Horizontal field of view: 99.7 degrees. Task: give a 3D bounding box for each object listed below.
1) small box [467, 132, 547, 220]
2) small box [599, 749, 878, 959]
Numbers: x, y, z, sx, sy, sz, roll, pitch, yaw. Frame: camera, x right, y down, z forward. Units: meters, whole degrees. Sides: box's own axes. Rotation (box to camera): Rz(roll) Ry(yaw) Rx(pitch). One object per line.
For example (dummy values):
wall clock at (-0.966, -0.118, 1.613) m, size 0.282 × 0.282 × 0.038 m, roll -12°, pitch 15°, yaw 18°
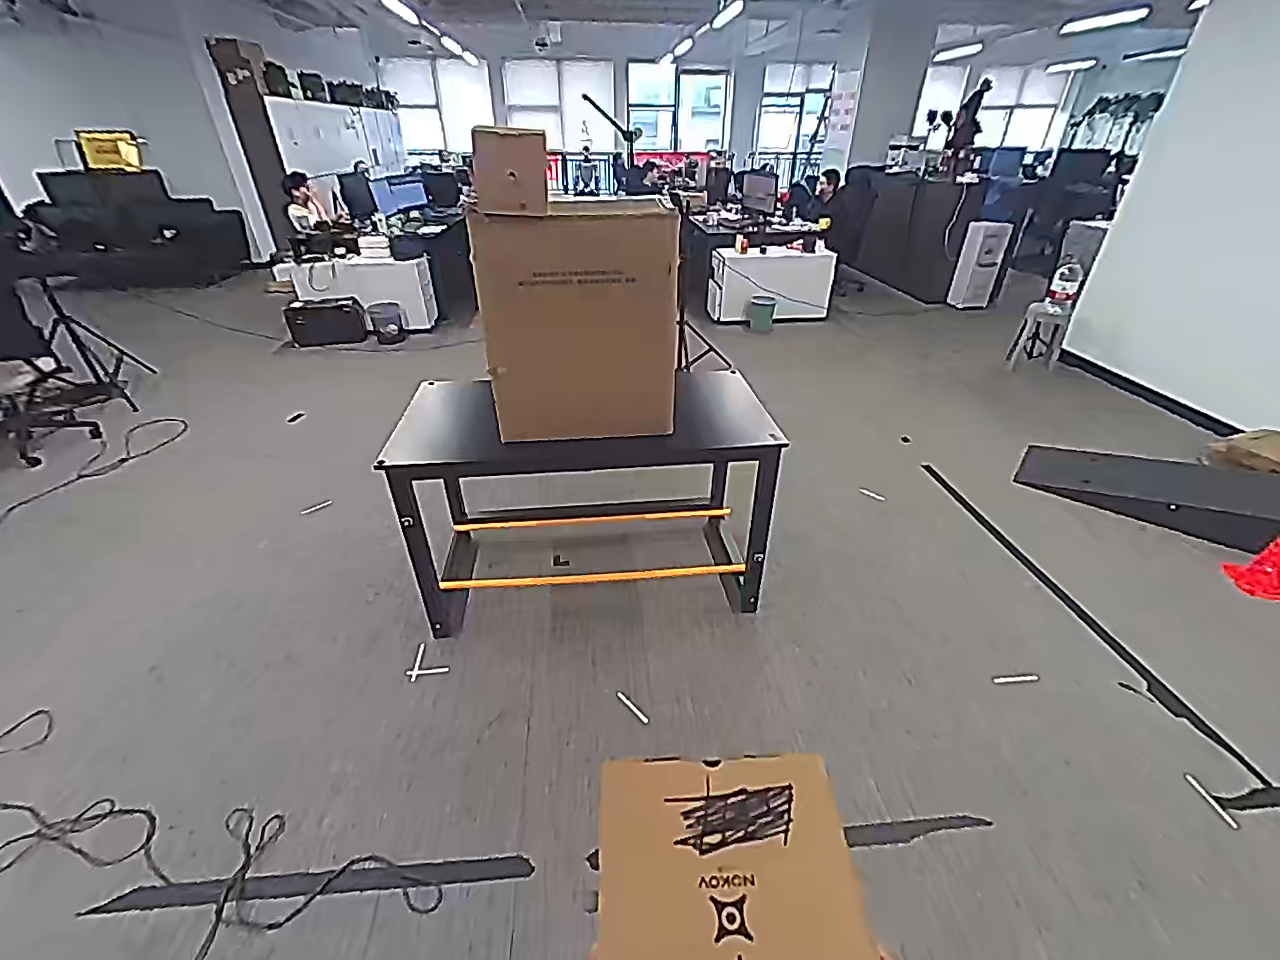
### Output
small box at (-0.311, -0.729, 1.297) m, size 0.168 × 0.176 × 0.179 m, roll -3°, pitch 35°, yaw -9°
small box at (0.055, 0.321, 0.388) m, size 0.168 × 0.176 × 0.179 m, roll -2°, pitch 39°, yaw -2°
